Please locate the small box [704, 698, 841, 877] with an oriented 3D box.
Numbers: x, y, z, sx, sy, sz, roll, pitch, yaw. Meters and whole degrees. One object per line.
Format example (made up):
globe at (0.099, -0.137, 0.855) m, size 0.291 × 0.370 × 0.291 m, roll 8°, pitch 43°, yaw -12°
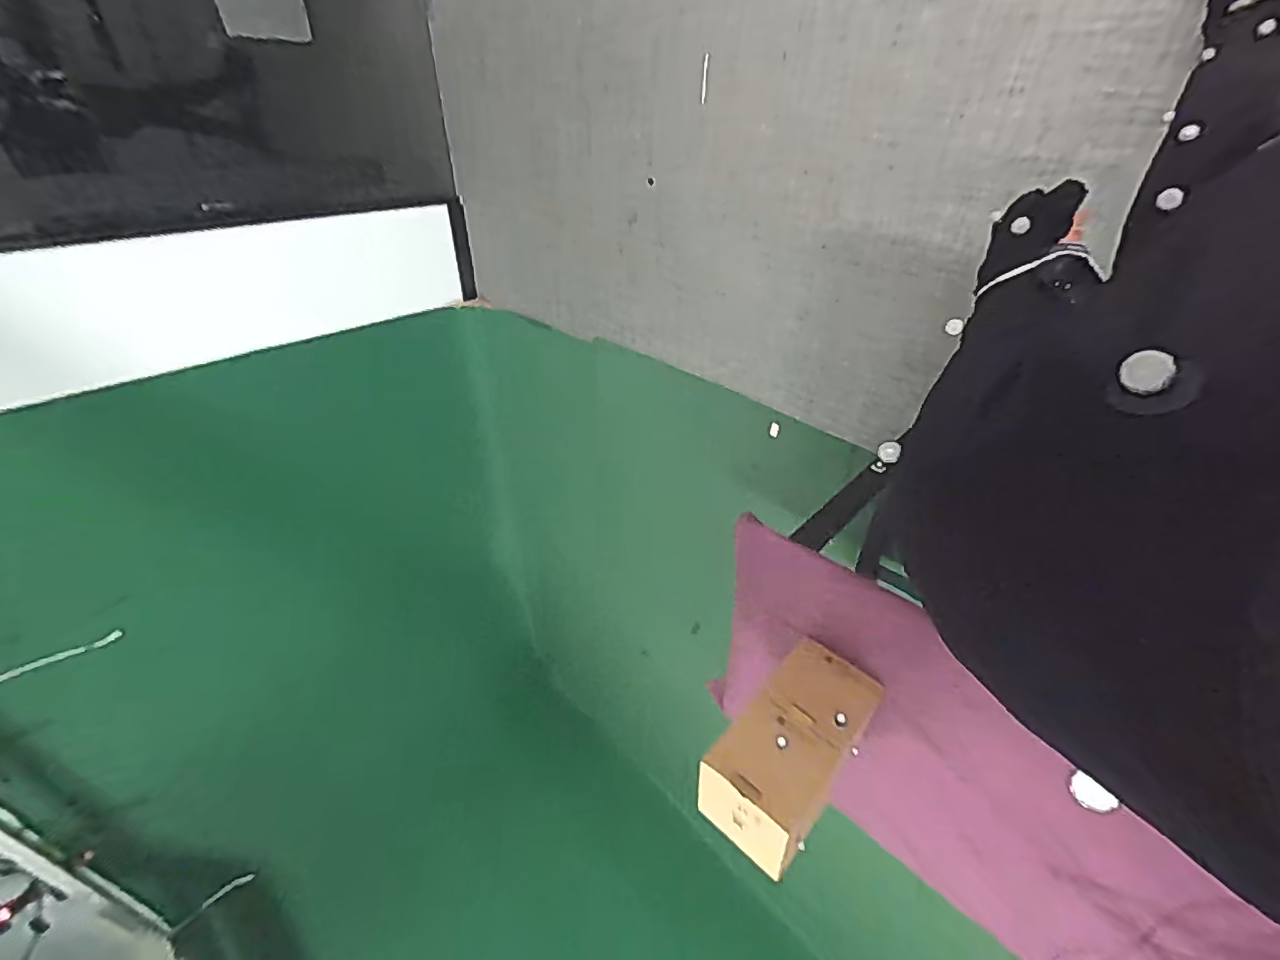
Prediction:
small box at (0.229, 0.527, 0.943) m, size 0.168 × 0.176 × 0.179 m, roll 27°, pitch 133°, yaw 36°
